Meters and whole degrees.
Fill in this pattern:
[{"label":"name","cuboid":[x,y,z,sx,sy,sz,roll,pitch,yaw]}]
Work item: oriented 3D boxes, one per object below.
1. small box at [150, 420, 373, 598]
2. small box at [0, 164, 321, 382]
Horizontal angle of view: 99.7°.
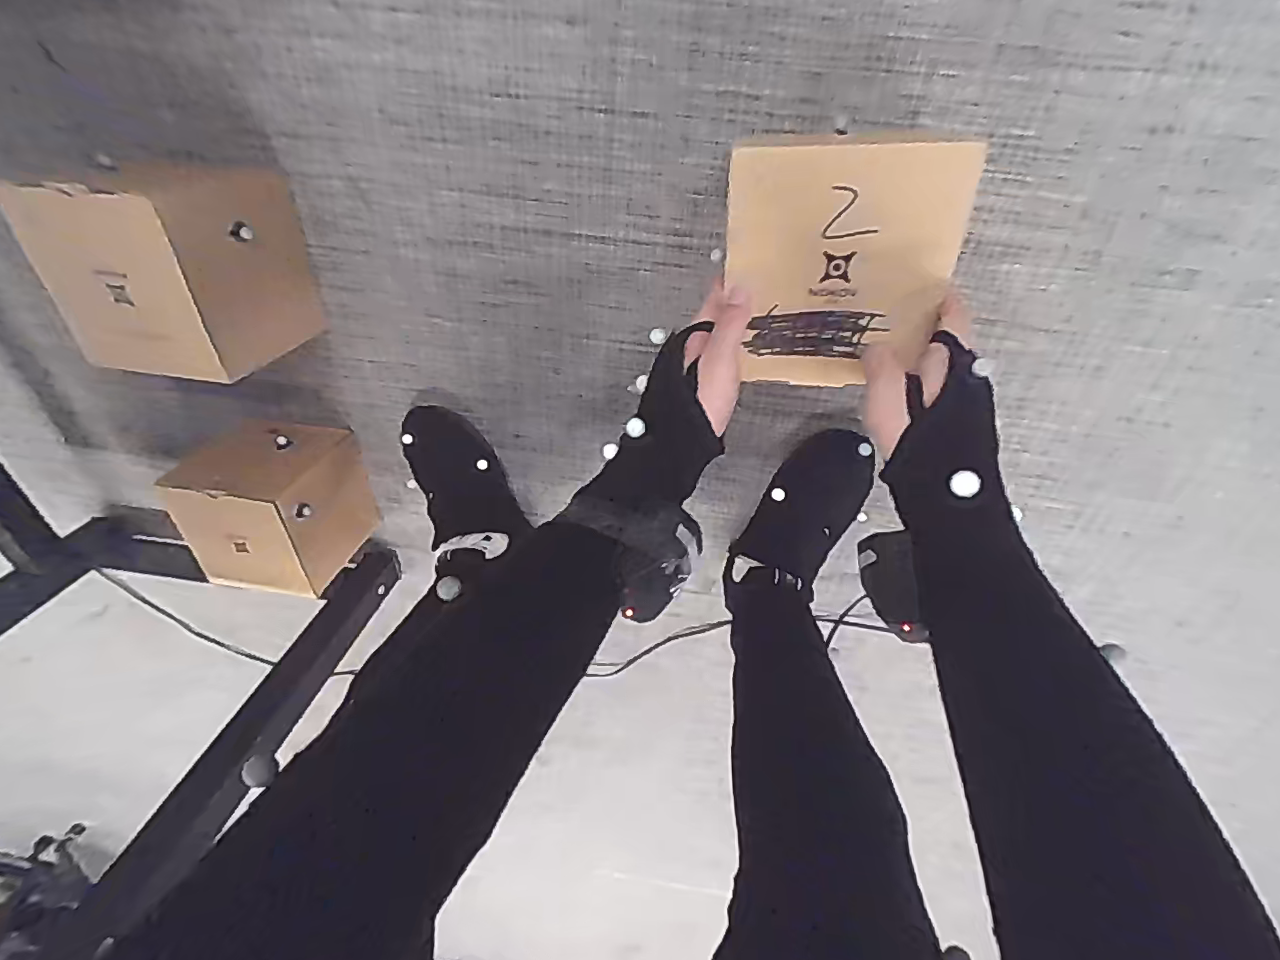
[{"label":"small box","cuboid":[-0.511,0.037,0.766,0.168,0.176,0.179,7,125,6]},{"label":"small box","cuboid":[-0.485,-0.227,0.576,0.168,0.176,0.179,8,126,6]}]
